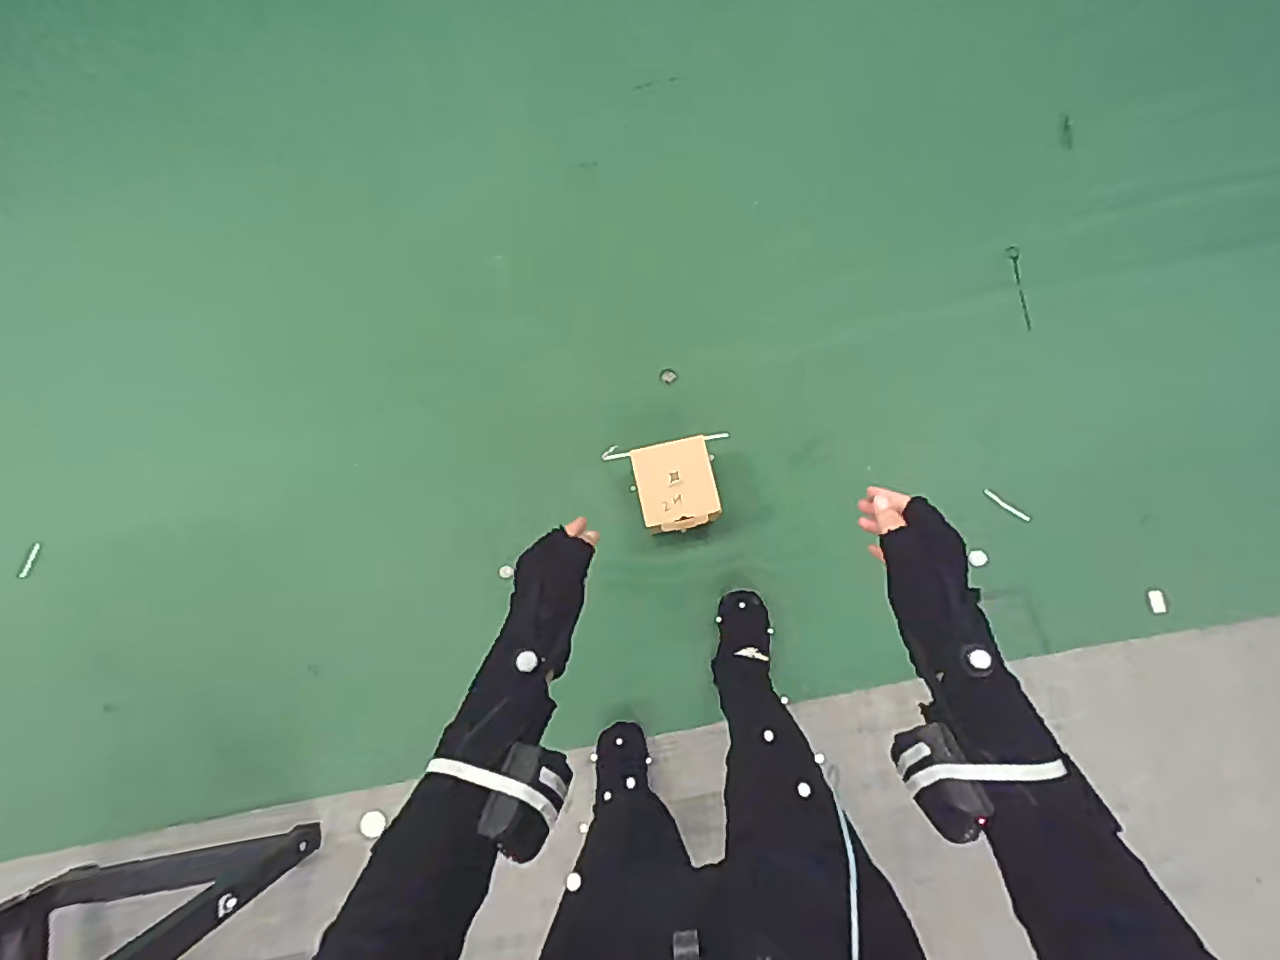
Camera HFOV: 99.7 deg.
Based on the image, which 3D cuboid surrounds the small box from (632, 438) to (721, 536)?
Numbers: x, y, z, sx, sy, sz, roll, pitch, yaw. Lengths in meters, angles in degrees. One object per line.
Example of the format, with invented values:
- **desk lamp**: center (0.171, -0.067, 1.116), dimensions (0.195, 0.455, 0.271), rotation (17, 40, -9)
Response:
- **small box**: center (0.079, 0.022, 1.239), dimensions (0.168, 0.176, 0.179), rotation (-12, 79, 0)
